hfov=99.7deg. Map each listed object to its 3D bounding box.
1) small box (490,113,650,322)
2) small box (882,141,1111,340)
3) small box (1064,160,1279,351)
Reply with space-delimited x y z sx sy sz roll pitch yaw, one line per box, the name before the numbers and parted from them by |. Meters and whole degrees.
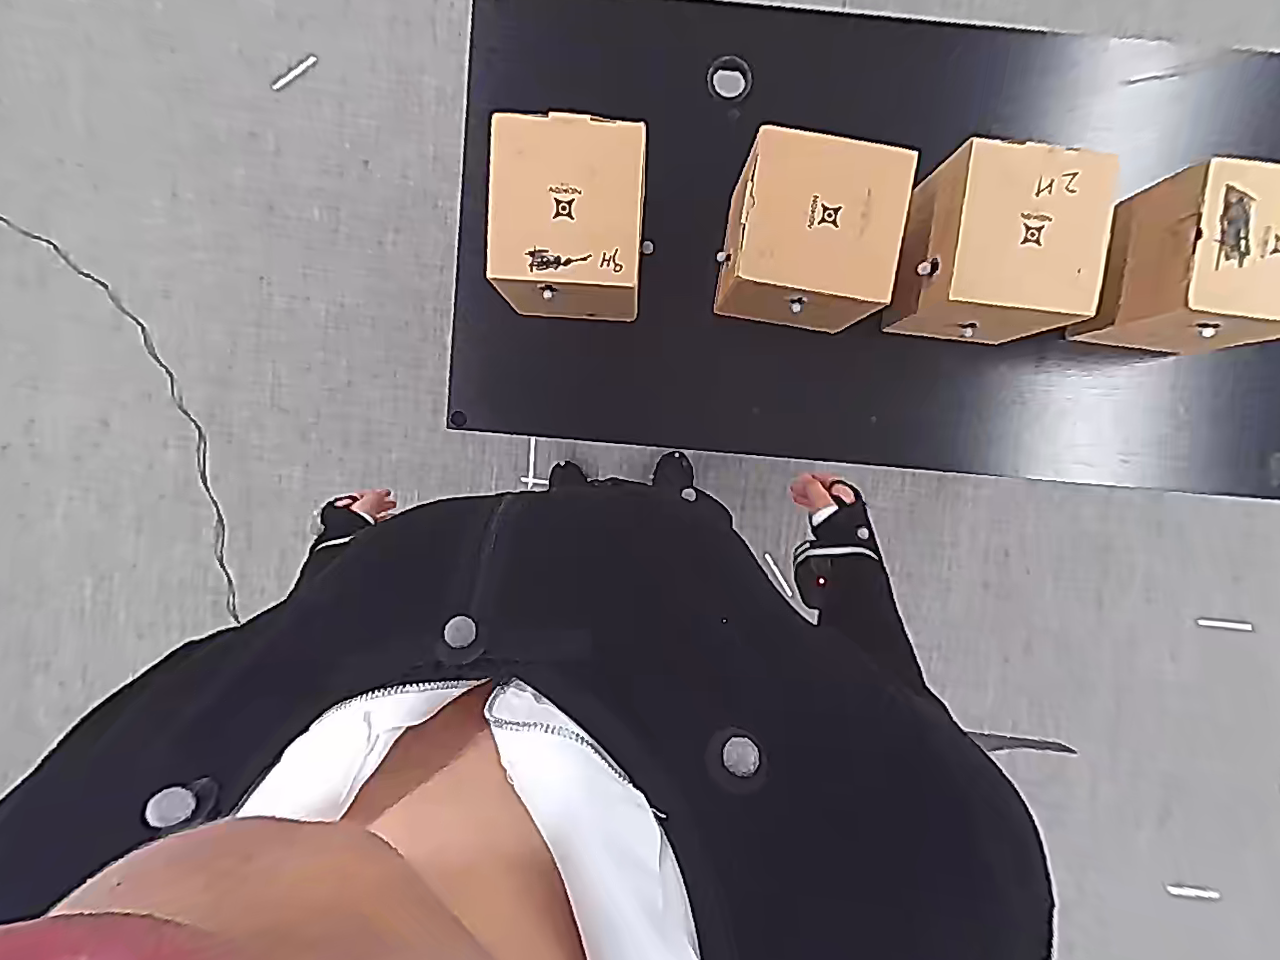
small box | -0.078 -0.311 0.672 0.168 0.176 0.179 5 93 0
small box | 0.426 -0.282 0.678 0.168 0.176 0.179 7 93 -1
small box | 0.687 -0.266 0.680 0.179 0.176 0.168 7 93 -1
